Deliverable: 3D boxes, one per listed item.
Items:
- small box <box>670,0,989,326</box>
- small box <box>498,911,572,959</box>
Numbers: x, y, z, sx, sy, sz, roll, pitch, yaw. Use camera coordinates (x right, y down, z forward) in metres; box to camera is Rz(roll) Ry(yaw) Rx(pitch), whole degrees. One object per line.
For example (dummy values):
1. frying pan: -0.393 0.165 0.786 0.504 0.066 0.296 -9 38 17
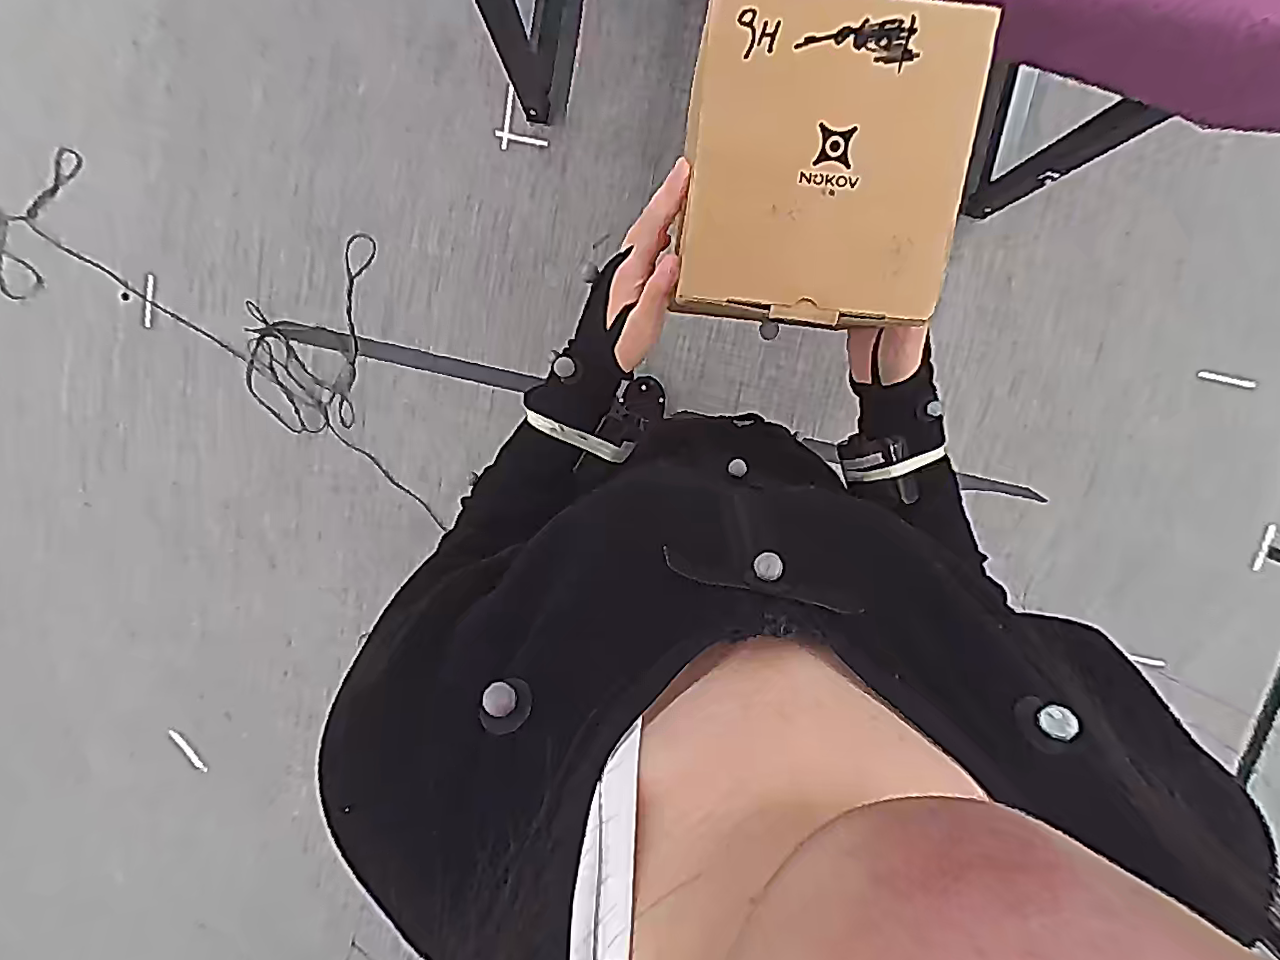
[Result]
1. small box: 0.114 -0.215 0.410 0.168 0.176 0.179 6 105 -1
2. small box: -0.264 1.206 1.311 0.168 0.176 0.179 9 98 -1
